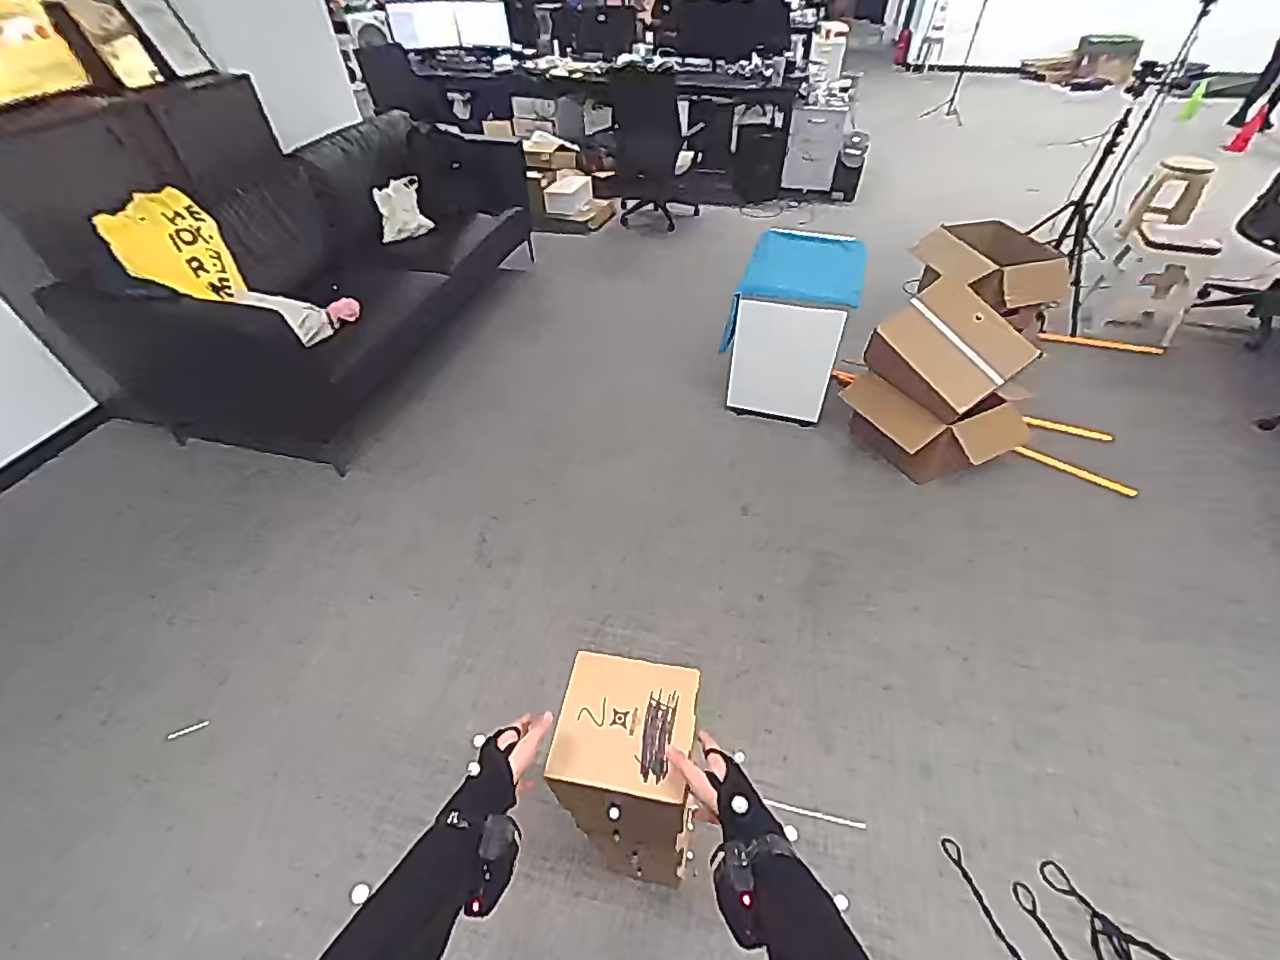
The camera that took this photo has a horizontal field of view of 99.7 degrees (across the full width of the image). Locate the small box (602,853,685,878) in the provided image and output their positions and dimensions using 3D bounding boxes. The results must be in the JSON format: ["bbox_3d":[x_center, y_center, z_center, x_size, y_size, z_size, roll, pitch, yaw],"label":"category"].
[{"bbox_3d":[0.015,0.690,1.111,0.179,0.176,0.168,9,47,11],"label":"small box"}]

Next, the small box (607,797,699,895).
[{"bbox_3d":[0.031,0.809,1.223,0.179,0.176,0.168,9,46,11],"label":"small box"}]

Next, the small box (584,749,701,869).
[{"bbox_3d":[0.010,0.585,0.986,0.179,0.176,0.168,7,46,10],"label":"small box"}]

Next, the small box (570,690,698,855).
[{"bbox_3d":[-0.003,0.470,0.870,0.168,0.176,0.179,6,47,10],"label":"small box"}]
